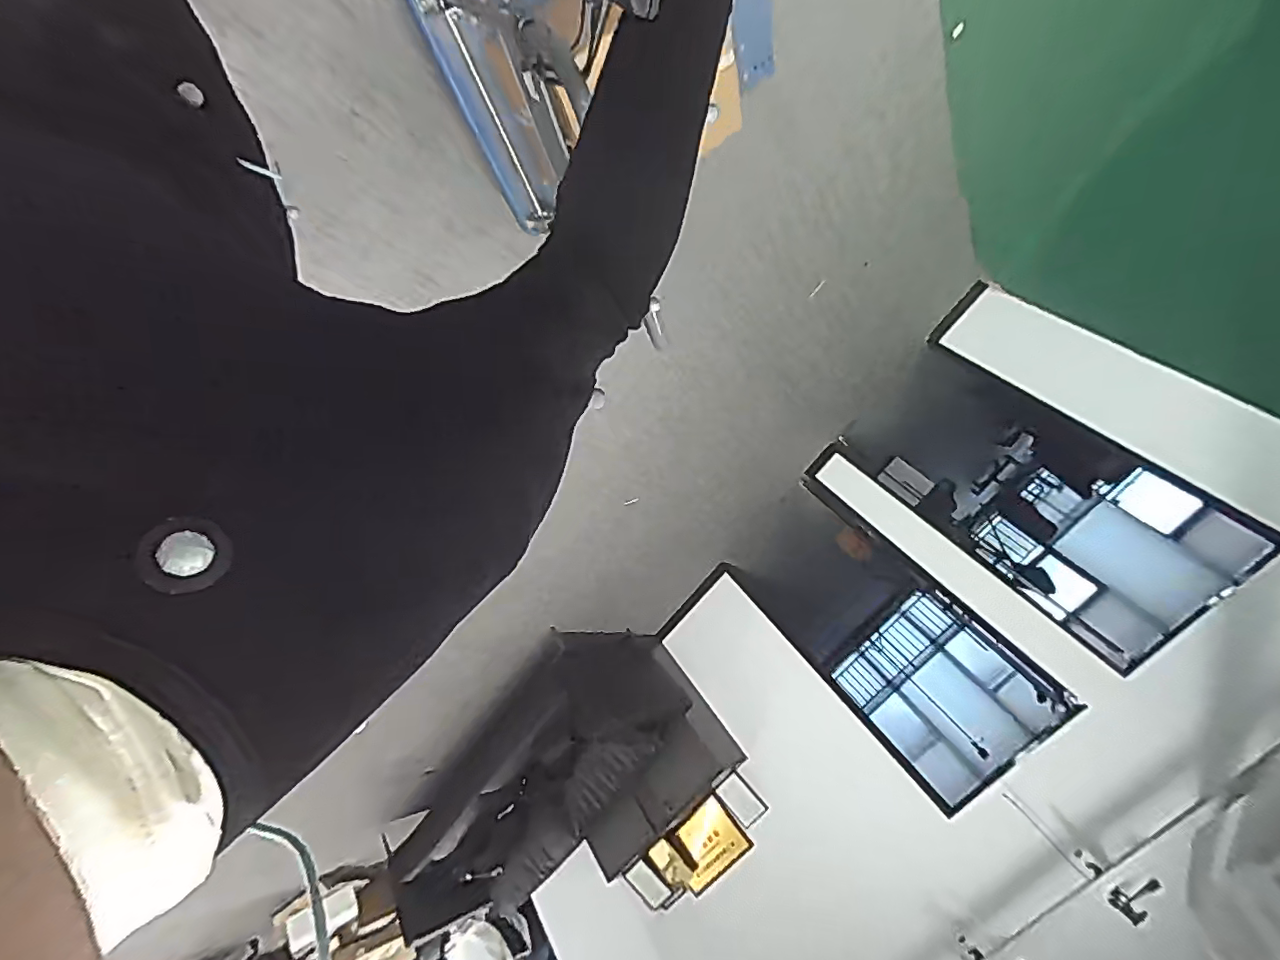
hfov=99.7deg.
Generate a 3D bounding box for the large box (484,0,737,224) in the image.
[{"bbox_3d":[-0.055,-0.859,1.193,0.408,0.320,0.320,-38,147,-6],"label":"large box"}]
